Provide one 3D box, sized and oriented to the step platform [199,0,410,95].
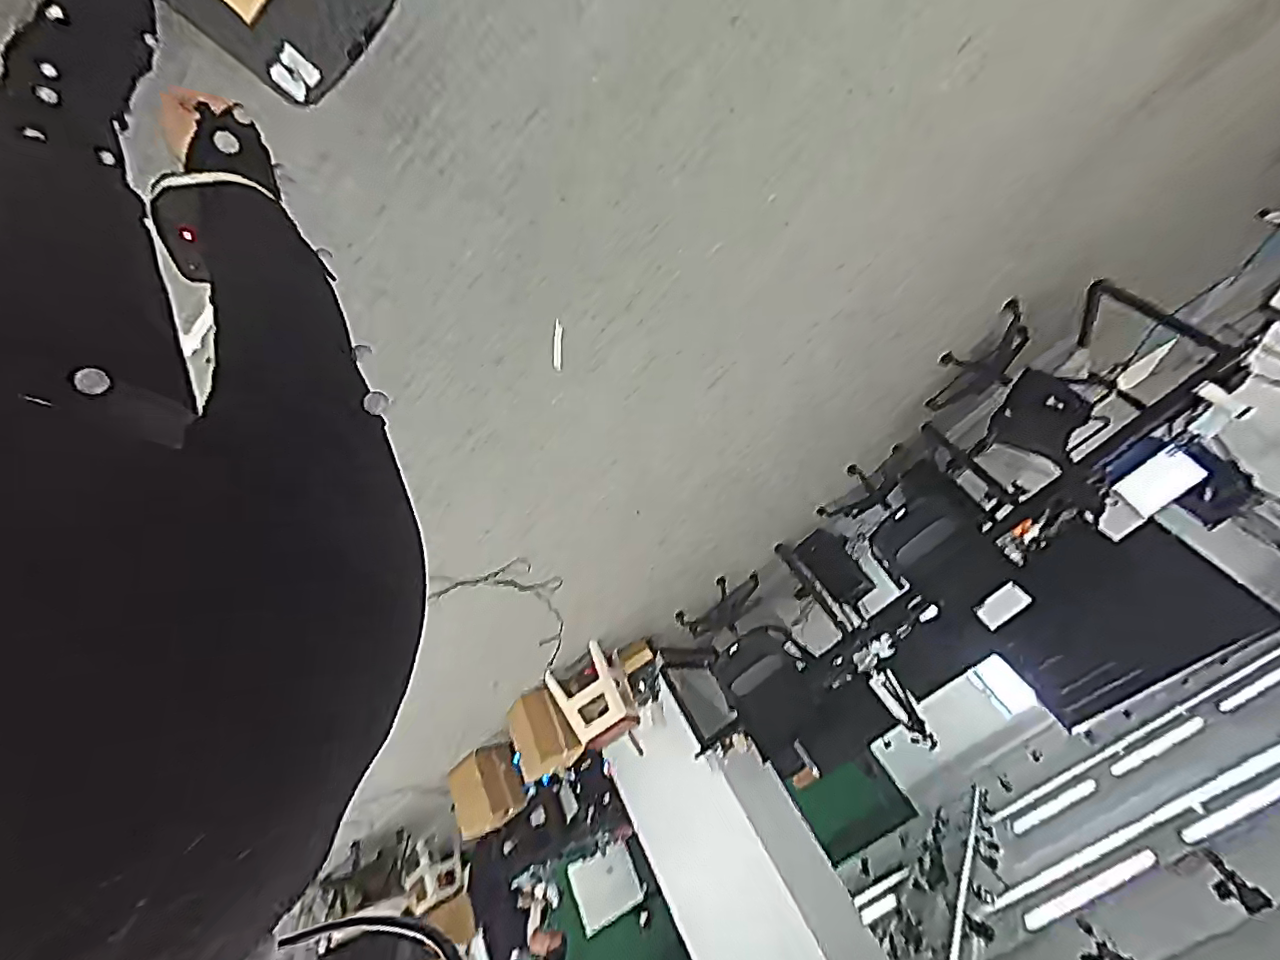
[{"bbox_3d":[-0.571,-0.787,0.554,0.286,0.204,0.684,-43,145,13],"label":"step platform"}]
